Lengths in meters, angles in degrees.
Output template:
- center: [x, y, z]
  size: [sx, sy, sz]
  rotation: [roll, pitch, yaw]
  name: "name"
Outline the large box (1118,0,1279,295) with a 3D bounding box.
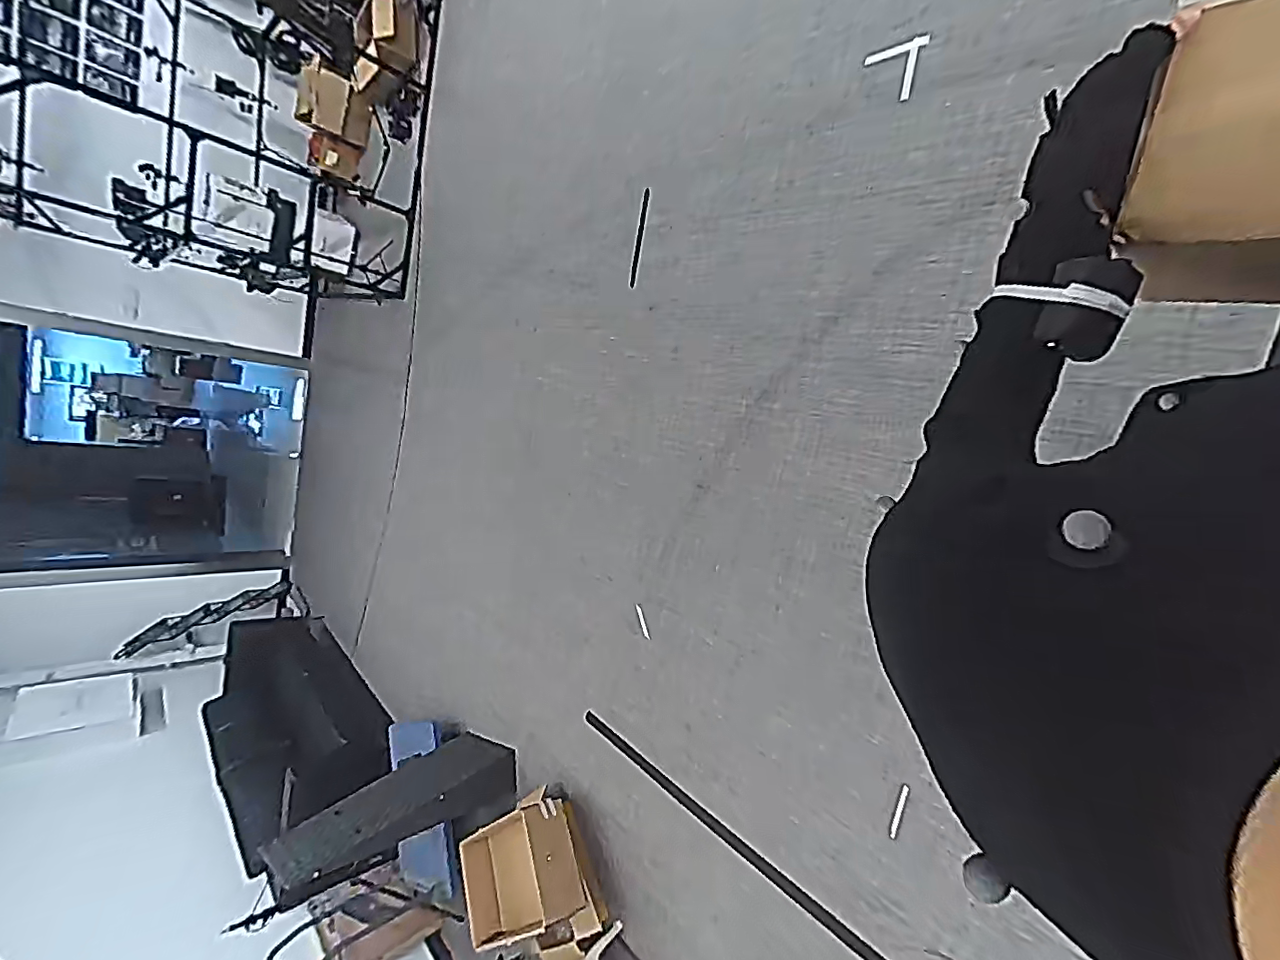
- center: [0.618, -0.304, 0.350]
  size: [0.408, 0.320, 0.320]
  rotation: [18, 110, 42]
  name: "large box"
